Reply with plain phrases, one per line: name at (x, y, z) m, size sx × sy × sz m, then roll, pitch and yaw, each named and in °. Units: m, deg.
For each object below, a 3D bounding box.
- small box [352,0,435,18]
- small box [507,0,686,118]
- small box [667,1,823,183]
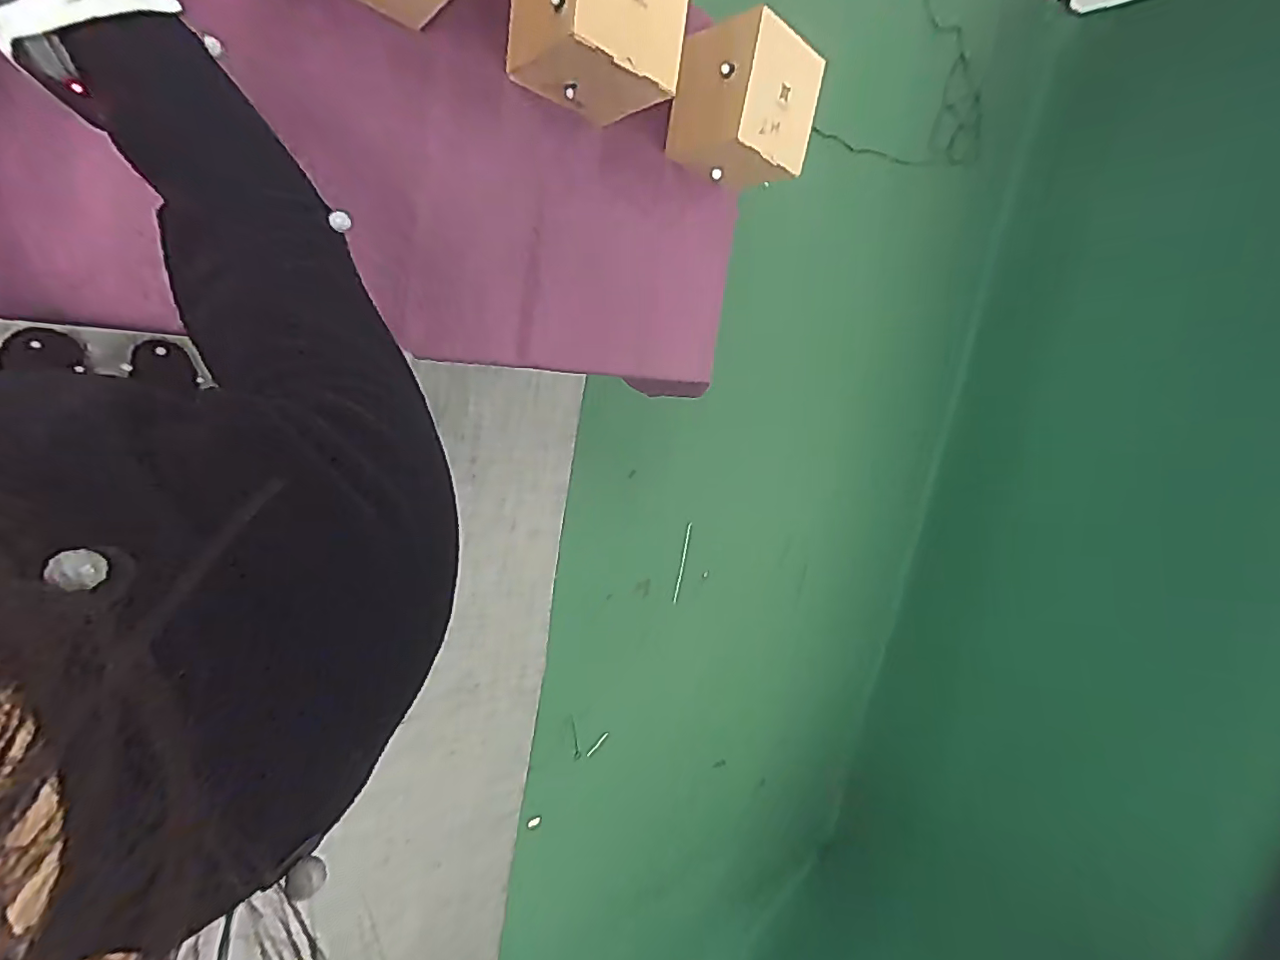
small box at (-0.272, -0.592, 0.515) m, size 0.179 × 0.176 × 0.168 m, roll -1°, pitch 105°, yaw -40°
small box at (-0.058, -0.609, 0.699) m, size 0.168 × 0.176 × 0.179 m, roll -4°, pitch 108°, yaw -40°
small box at (0.164, -0.612, 0.884) m, size 0.168 × 0.176 × 0.179 m, roll -1°, pitch 108°, yaw -40°
